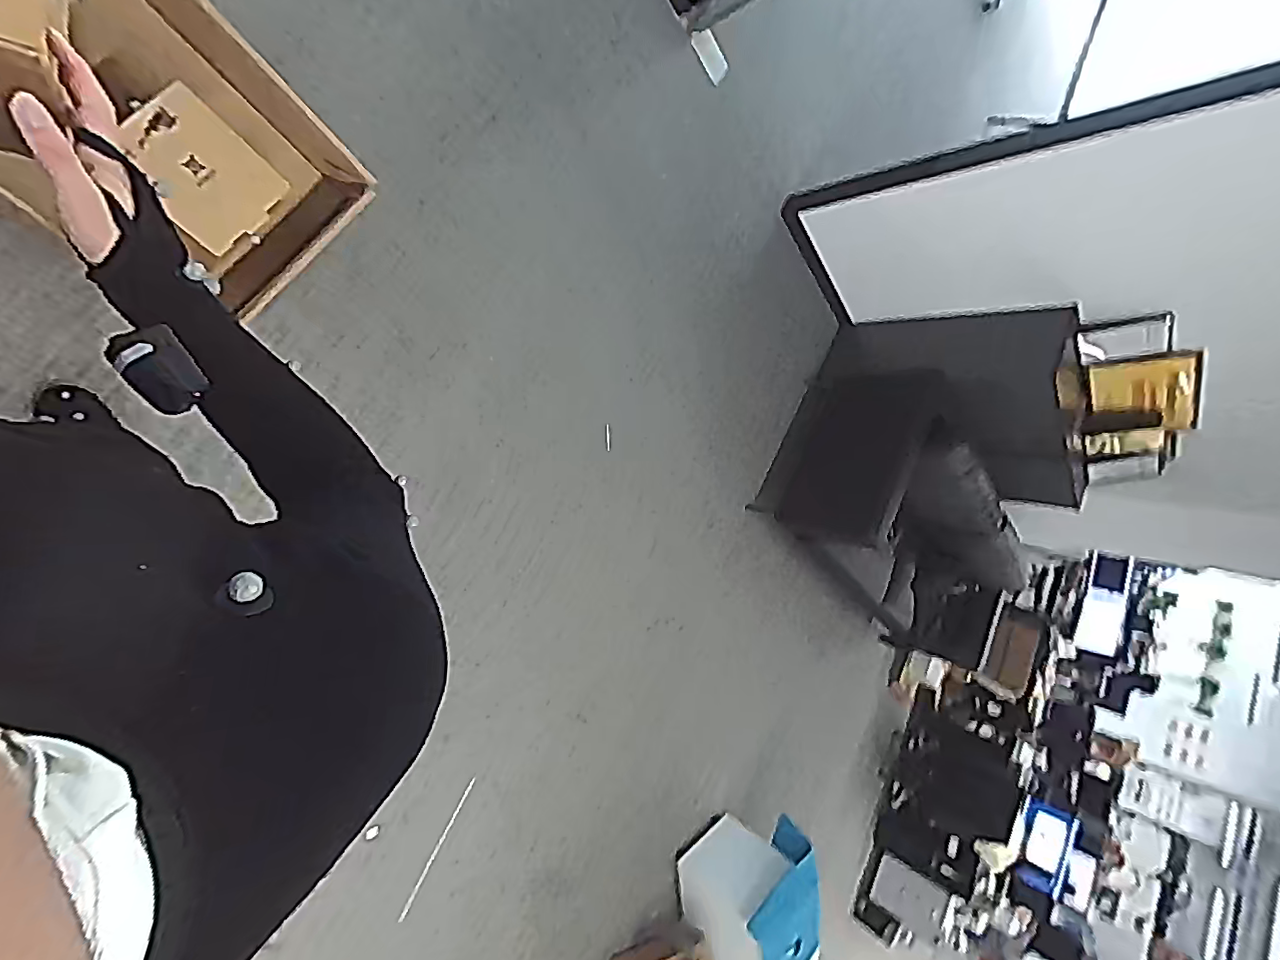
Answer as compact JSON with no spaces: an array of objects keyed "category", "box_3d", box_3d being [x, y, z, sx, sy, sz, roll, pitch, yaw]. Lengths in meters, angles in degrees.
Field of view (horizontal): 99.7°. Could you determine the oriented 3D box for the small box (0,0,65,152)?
[{"category":"small box","box_3d":[-0.519,-0.366,0.367,0.168,0.176,0.179,-2,90,-43]}]
